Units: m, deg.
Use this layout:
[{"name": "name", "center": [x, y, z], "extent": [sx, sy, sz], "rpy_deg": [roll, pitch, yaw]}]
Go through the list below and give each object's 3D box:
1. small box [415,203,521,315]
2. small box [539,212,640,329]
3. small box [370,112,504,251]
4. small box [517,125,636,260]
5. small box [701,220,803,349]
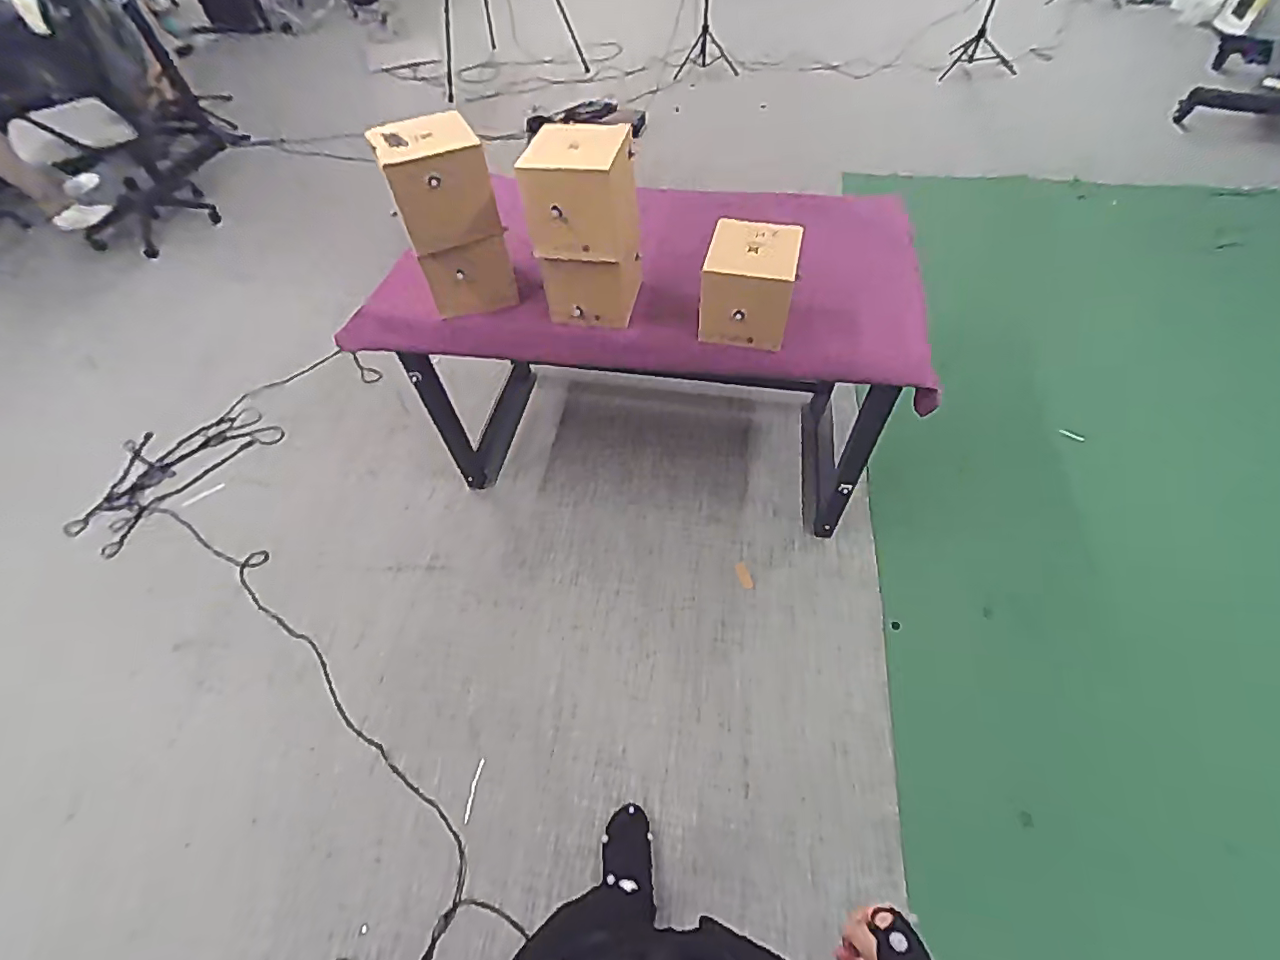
[{"name": "small box", "center": [-0.371, -0.481, 1.173], "extent": [0.179, 0.176, 0.168], "rpy_deg": [-13, 55, -6]}, {"name": "small box", "center": [-0.095, -0.443, 1.134], "extent": [0.168, 0.176, 0.179], "rpy_deg": [7, 55, 9]}, {"name": "small box", "center": [-0.382, -0.565, 1.031], "extent": [0.179, 0.176, 0.168], "rpy_deg": [-22, 56, -14]}, {"name": "small box", "center": [-0.104, -0.525, 0.993], "extent": [0.168, 0.176, 0.179], "rpy_deg": [7, 53, 9]}, {"name": "small box", "center": [0.218, -0.385, 1.074], "extent": [0.168, 0.176, 0.179], "rpy_deg": [12, 56, 11]}]
